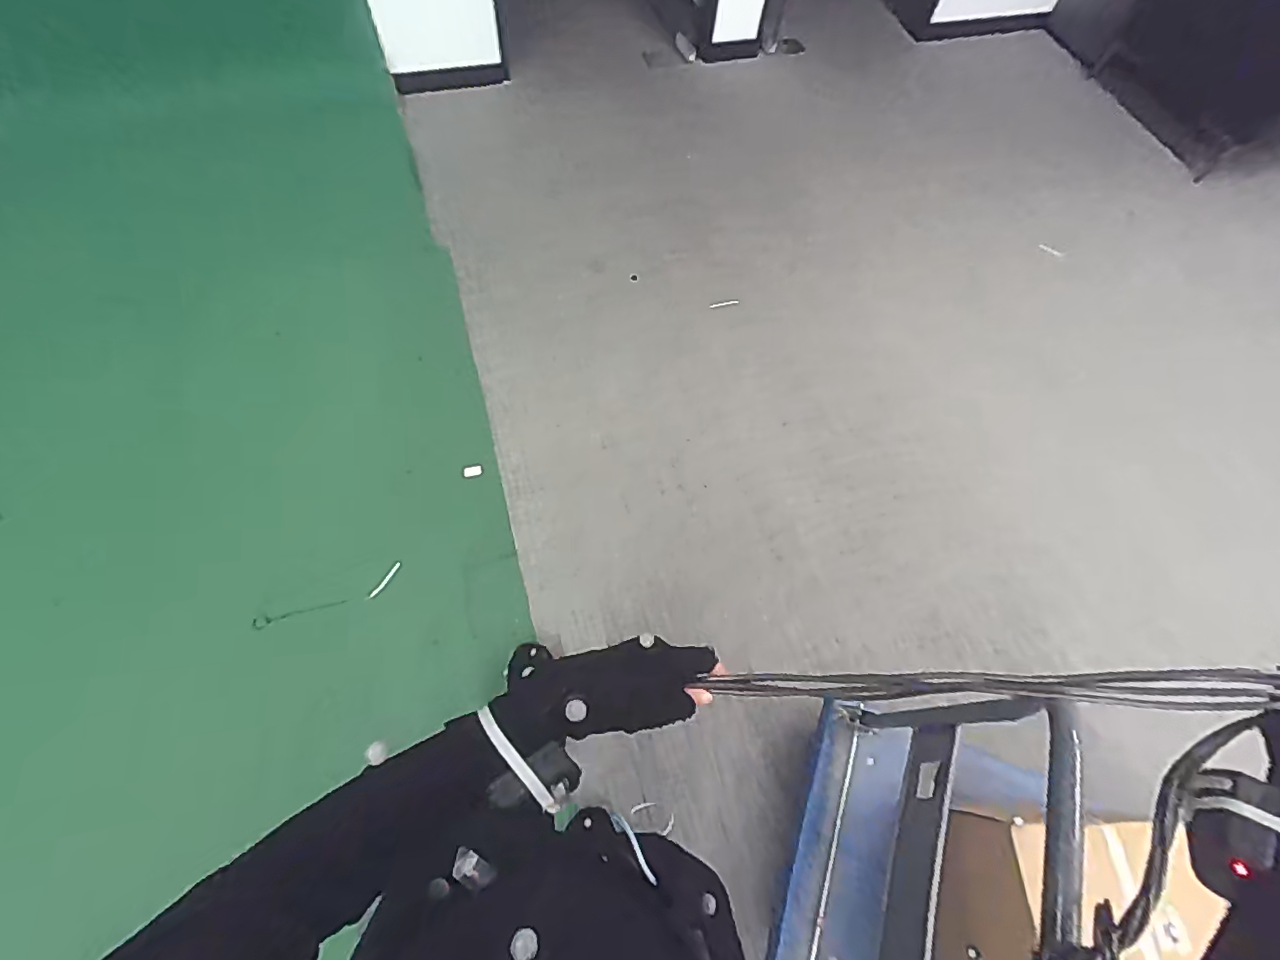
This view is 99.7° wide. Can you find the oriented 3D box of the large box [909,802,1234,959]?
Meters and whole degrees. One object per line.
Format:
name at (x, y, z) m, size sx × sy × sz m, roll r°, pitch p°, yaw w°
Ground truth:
large box at (0.716, 0.789, 0.911) m, size 0.320 × 0.320 × 0.408 m, roll 2°, pitch 63°, yaw -4°
